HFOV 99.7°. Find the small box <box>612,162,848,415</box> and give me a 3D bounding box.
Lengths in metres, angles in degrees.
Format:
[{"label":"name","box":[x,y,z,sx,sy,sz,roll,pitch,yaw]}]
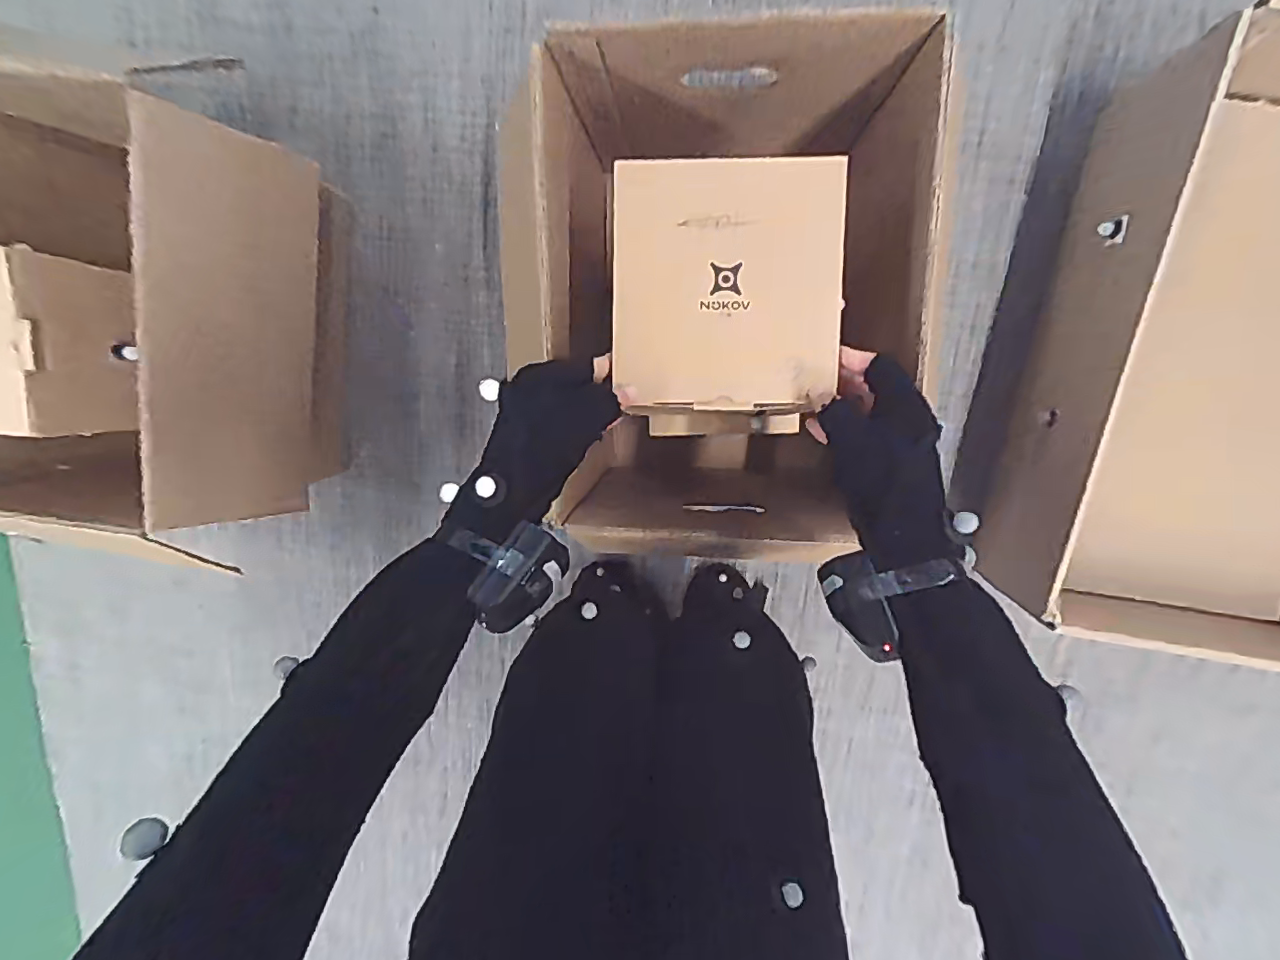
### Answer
[{"label":"small box","box":[0.067,-0.147,0.471,0.168,0.176,0.179,1,95,3]}]
